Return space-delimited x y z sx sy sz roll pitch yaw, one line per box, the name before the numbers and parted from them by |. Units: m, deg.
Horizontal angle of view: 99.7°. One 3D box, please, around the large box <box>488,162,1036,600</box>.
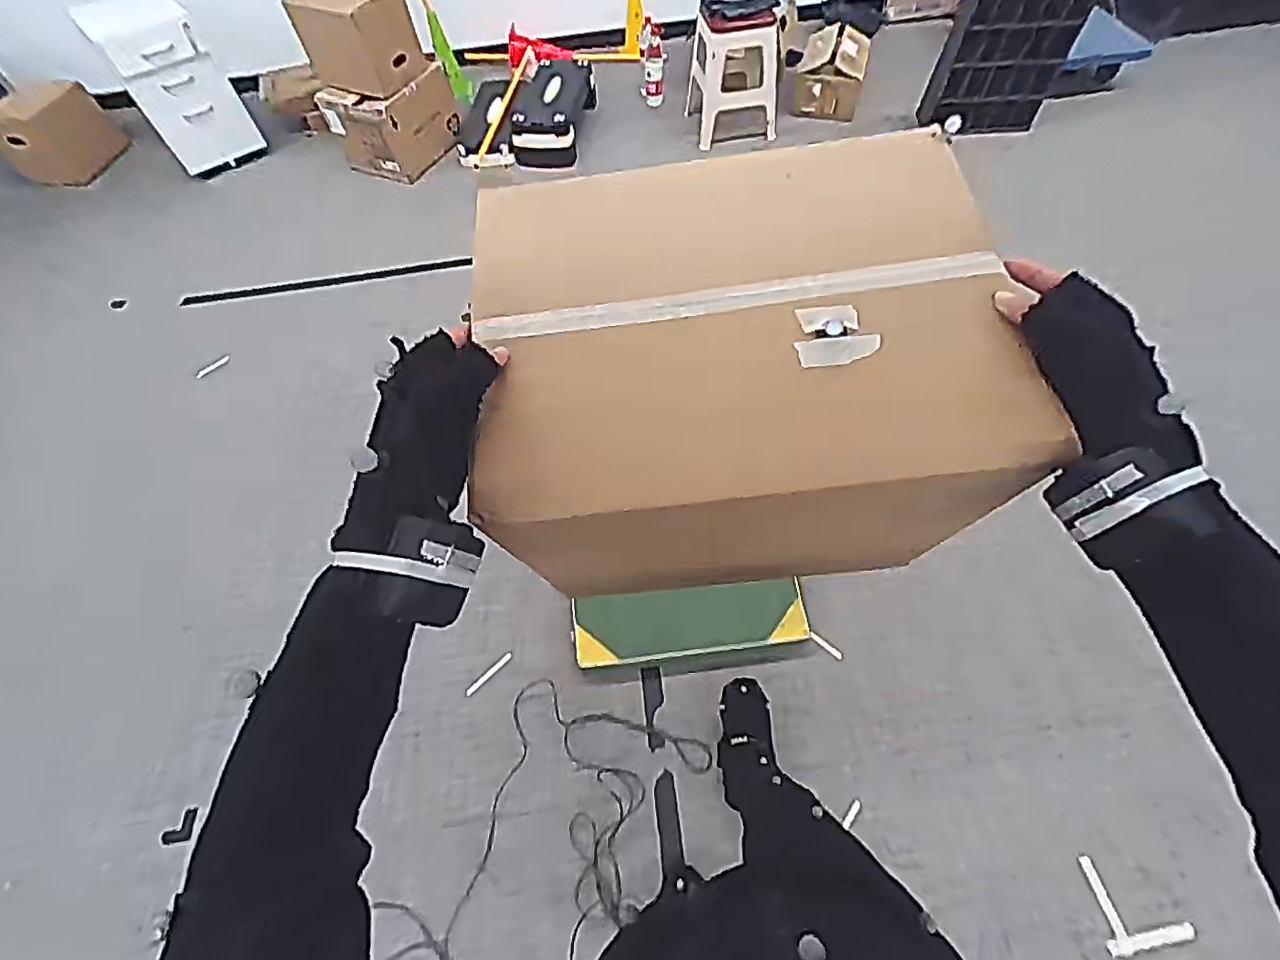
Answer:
large box | 0.079 -0.072 0.580 0.408 0.320 0.320 -7 68 2
